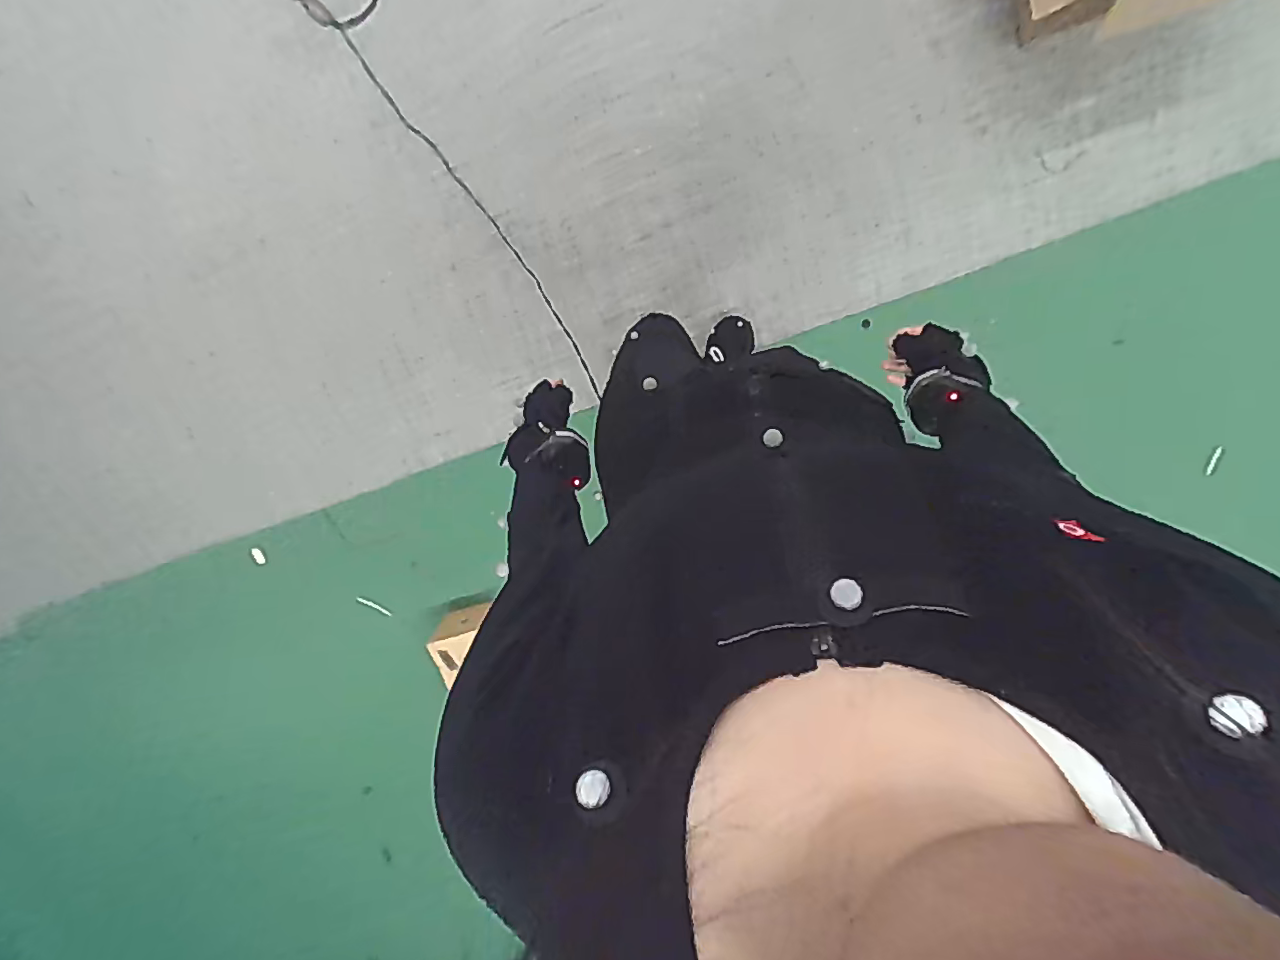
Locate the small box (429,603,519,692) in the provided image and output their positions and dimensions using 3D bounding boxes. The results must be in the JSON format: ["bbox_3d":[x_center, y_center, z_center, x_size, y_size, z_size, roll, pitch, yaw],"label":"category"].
[{"bbox_3d":[-0.484,0.490,1.602,0.179,0.176,0.168,-17,106,8],"label":"small box"}]
